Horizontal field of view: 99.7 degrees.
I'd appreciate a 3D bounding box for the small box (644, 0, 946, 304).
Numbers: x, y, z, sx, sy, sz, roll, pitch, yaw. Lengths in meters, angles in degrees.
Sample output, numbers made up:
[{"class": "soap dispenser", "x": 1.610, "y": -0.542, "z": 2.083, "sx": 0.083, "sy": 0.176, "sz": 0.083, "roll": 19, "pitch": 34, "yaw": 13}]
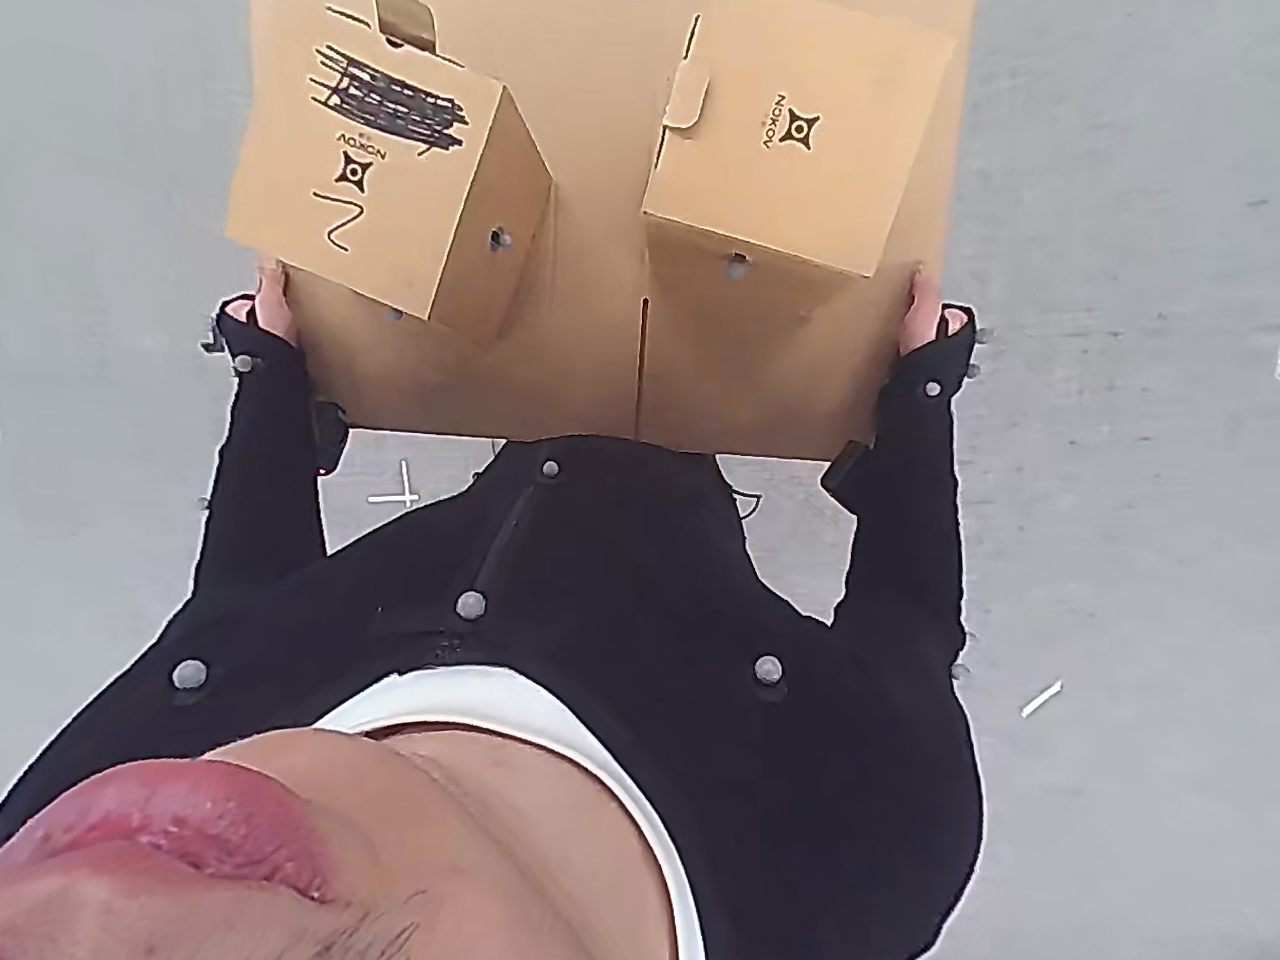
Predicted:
[{"class": "small box", "x": 0.114, "y": -0.263, "z": 0.468, "sx": 0.179, "sy": 0.176, "sz": 0.168, "roll": 17, "pitch": 99, "yaw": 2}]
